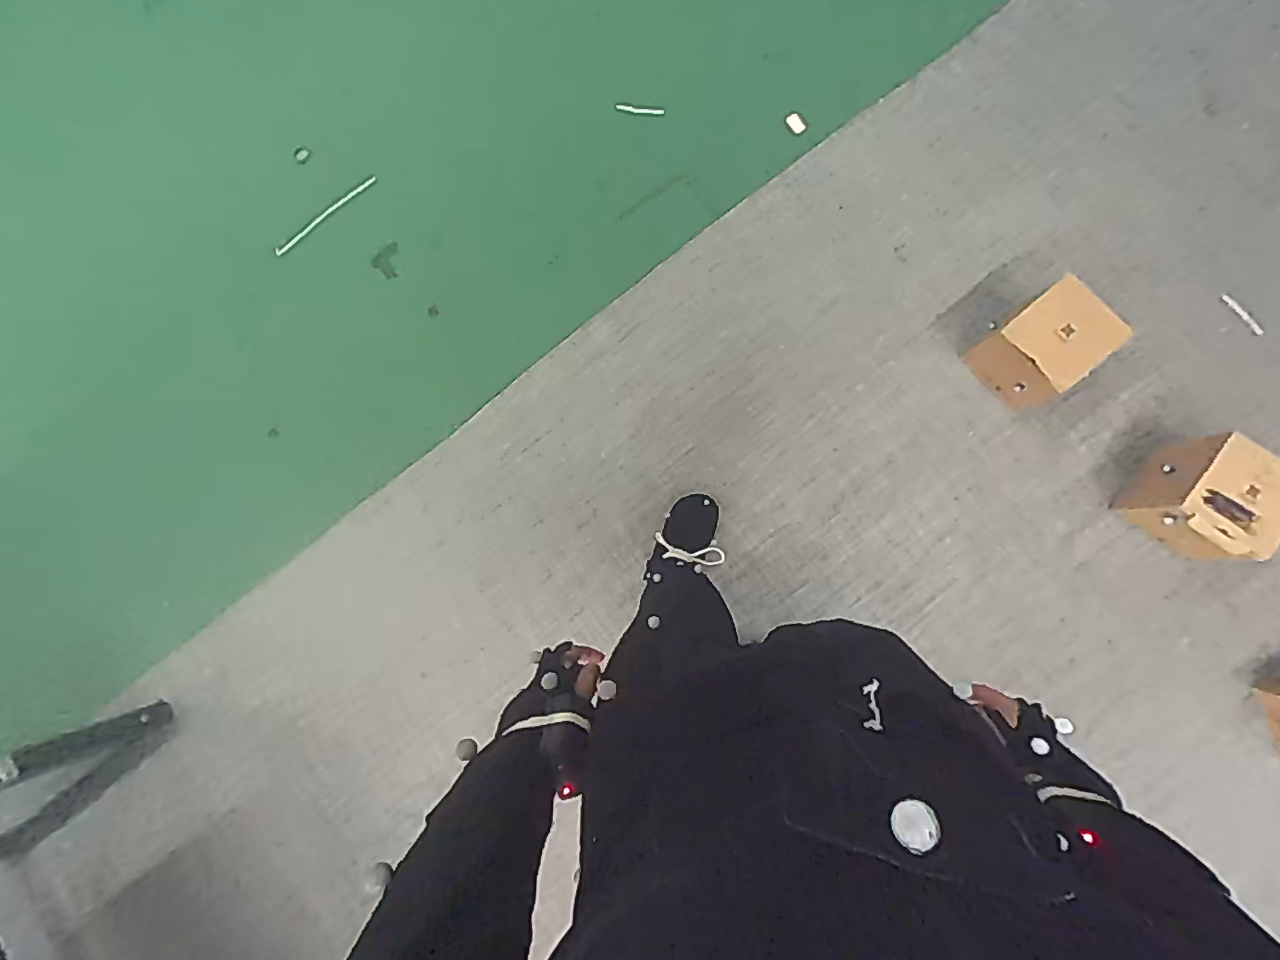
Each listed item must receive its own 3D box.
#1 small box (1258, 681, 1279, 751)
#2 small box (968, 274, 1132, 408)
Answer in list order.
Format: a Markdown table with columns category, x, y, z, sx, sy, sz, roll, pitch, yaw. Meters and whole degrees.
| category | x | y | z | sx | sy | sz | roll | pitch | yaw |
| --- | --- | --- | --- | --- | --- | --- | --- | --- | --- |
| small box | 1.323 | 0.457 | 0.984 | 0.179 | 0.176 | 0.168 | -19 | 84 | 4 |
| small box | 0.809 | -0.269 | 1.097 | 0.179 | 0.176 | 0.168 | -41 | 84 | 0 |
